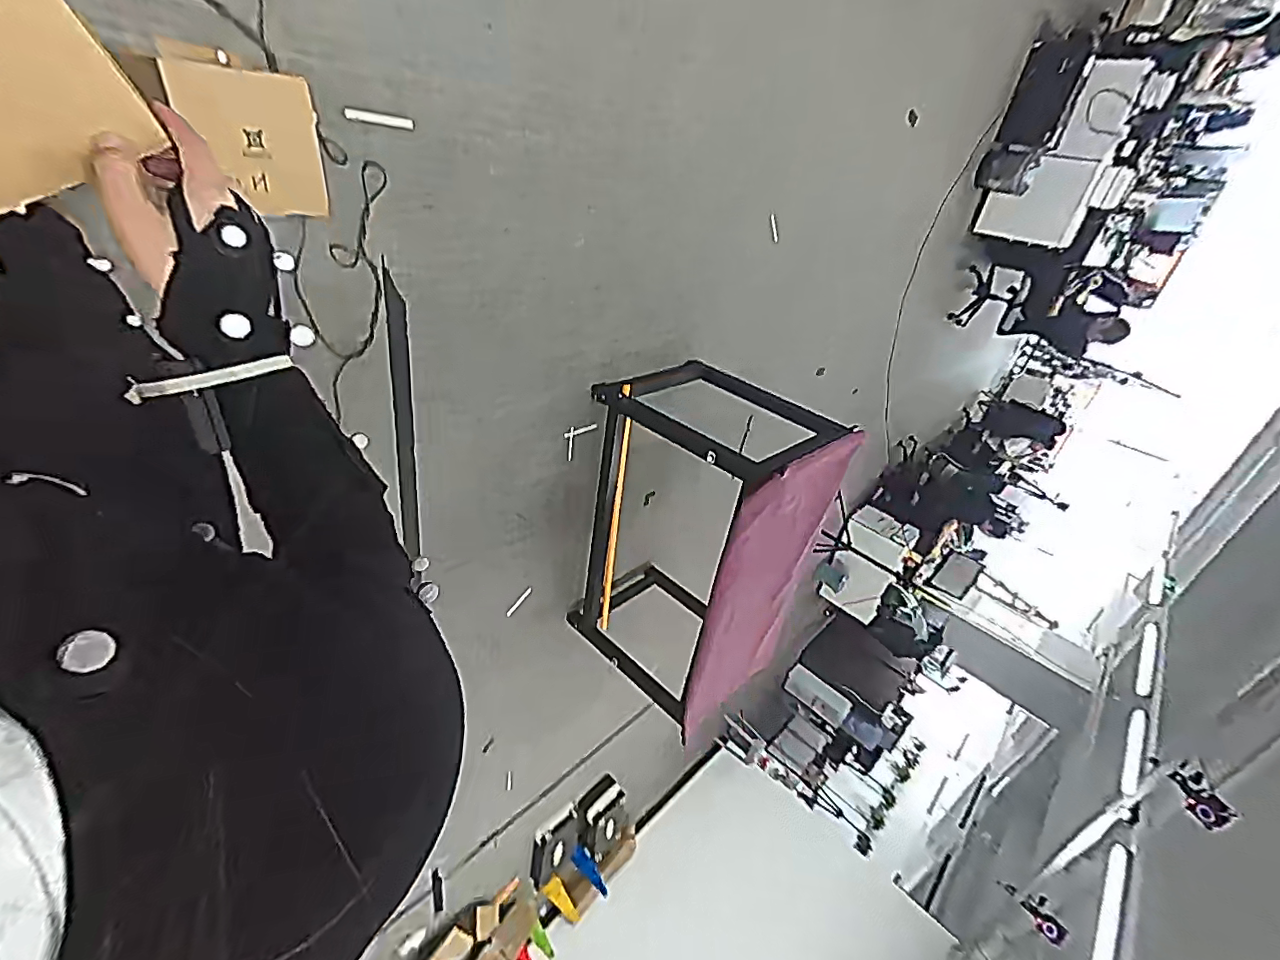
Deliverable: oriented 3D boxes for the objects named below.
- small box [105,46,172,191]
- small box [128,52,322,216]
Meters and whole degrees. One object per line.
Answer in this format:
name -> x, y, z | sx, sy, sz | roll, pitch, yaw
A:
small box -> -0.708, -0.566, 0.863 | 0.168, 0.176, 0.179 | -22, 135, -42
small box -> -0.590, -0.491, 0.775 | 0.168, 0.176, 0.179 | -23, 135, -40
